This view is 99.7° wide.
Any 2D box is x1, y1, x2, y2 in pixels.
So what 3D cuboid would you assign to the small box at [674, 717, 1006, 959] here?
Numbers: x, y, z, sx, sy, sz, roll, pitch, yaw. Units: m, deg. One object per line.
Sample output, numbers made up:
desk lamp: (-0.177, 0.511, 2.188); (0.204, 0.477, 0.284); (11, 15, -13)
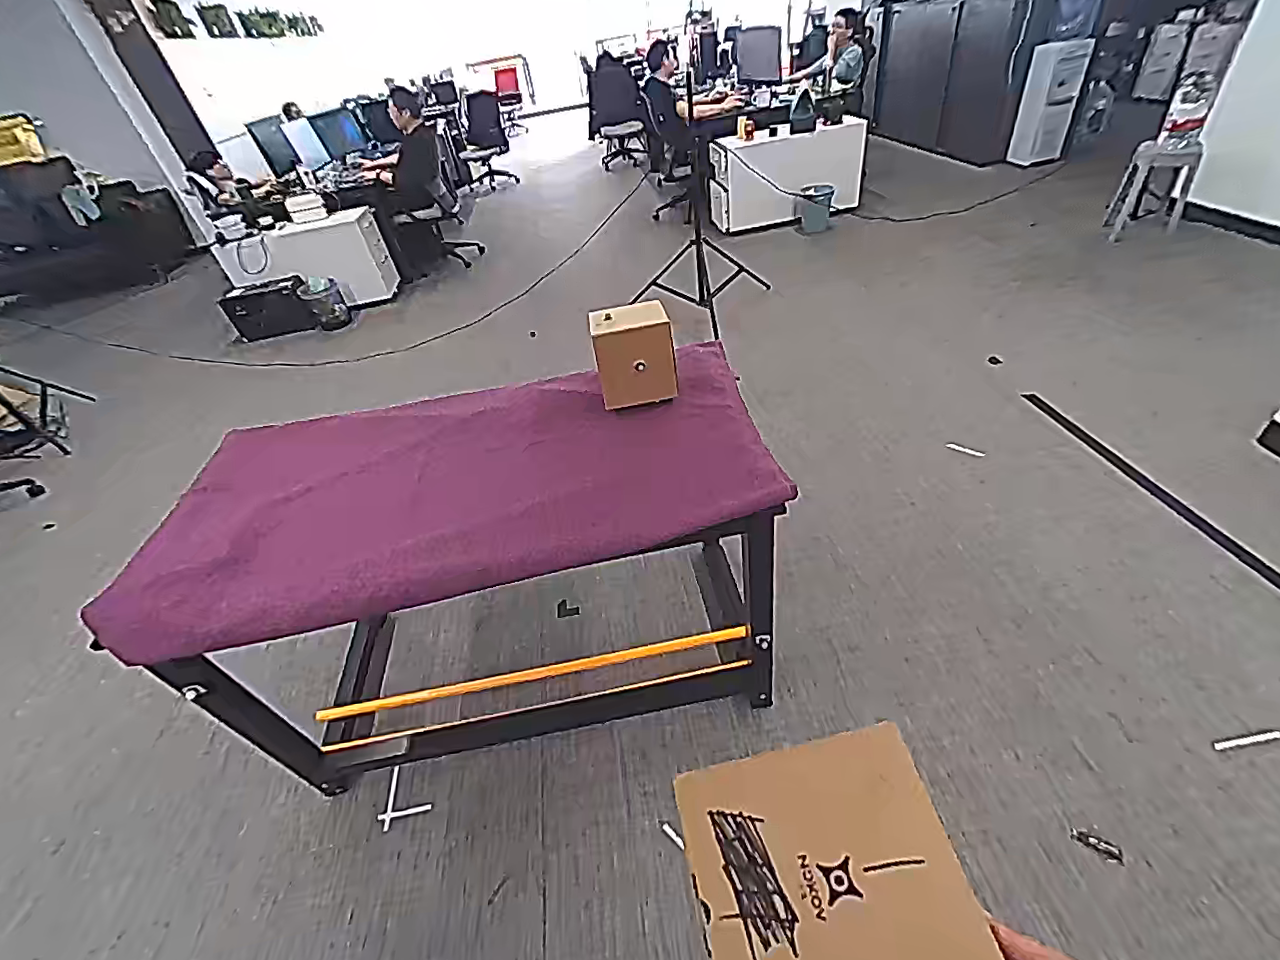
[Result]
small box: (0.141, 0.308, 0.422); (0.179, 0.176, 0.168); (-16, 52, 3)
